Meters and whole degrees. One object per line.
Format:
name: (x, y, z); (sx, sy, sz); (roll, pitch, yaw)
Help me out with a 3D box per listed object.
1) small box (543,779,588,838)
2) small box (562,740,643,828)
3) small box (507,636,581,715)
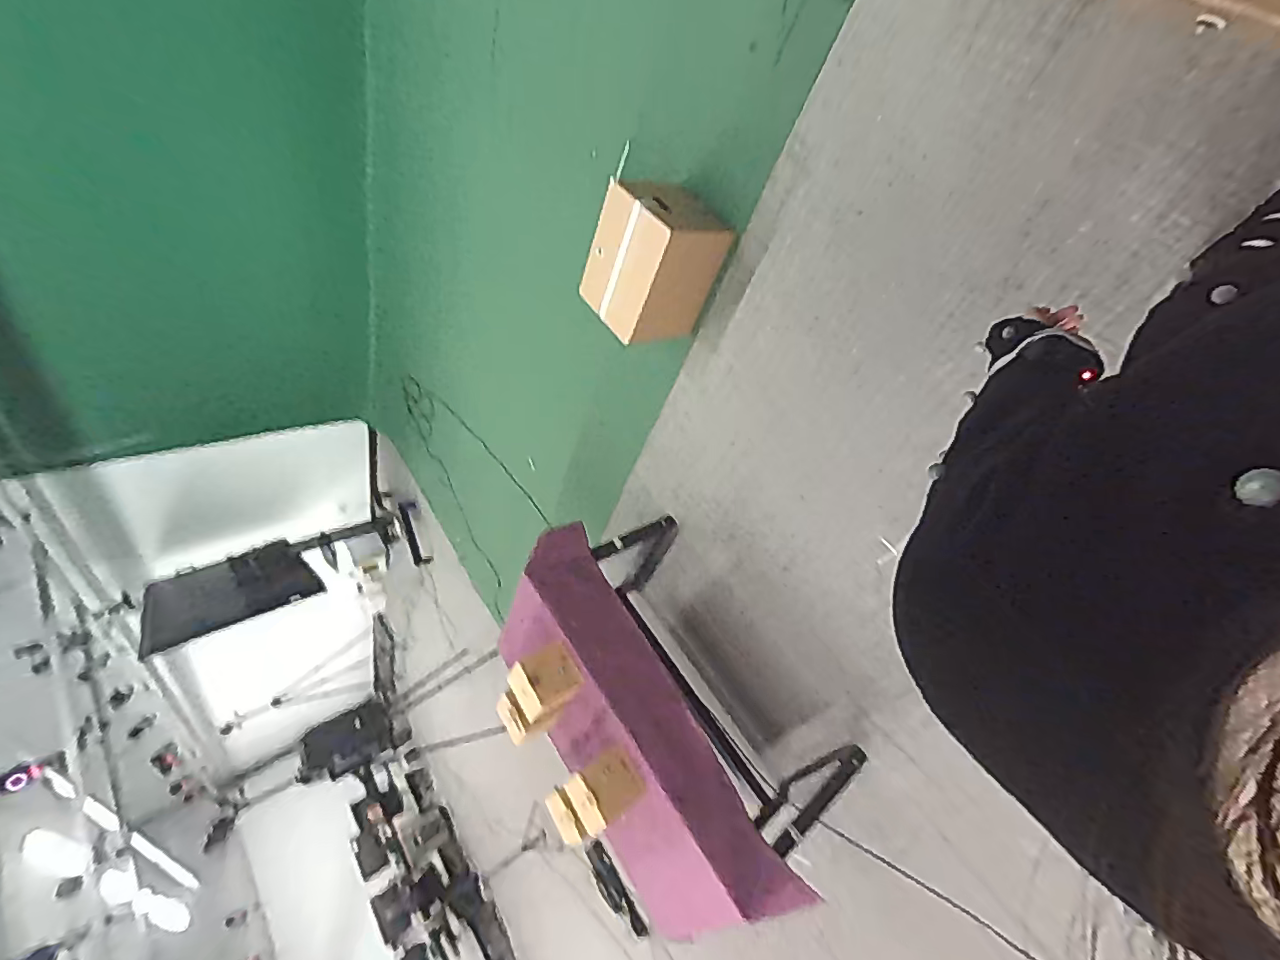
small box: (-0.206, 1.098, 1.867); (0.168, 0.176, 0.179); (56, 139, 18)
small box: (-0.114, 0.947, 1.695); (0.168, 0.176, 0.179); (54, 140, 22)
small box: (-0.322, 0.658, 1.827); (0.168, 0.176, 0.179); (55, 139, 20)
